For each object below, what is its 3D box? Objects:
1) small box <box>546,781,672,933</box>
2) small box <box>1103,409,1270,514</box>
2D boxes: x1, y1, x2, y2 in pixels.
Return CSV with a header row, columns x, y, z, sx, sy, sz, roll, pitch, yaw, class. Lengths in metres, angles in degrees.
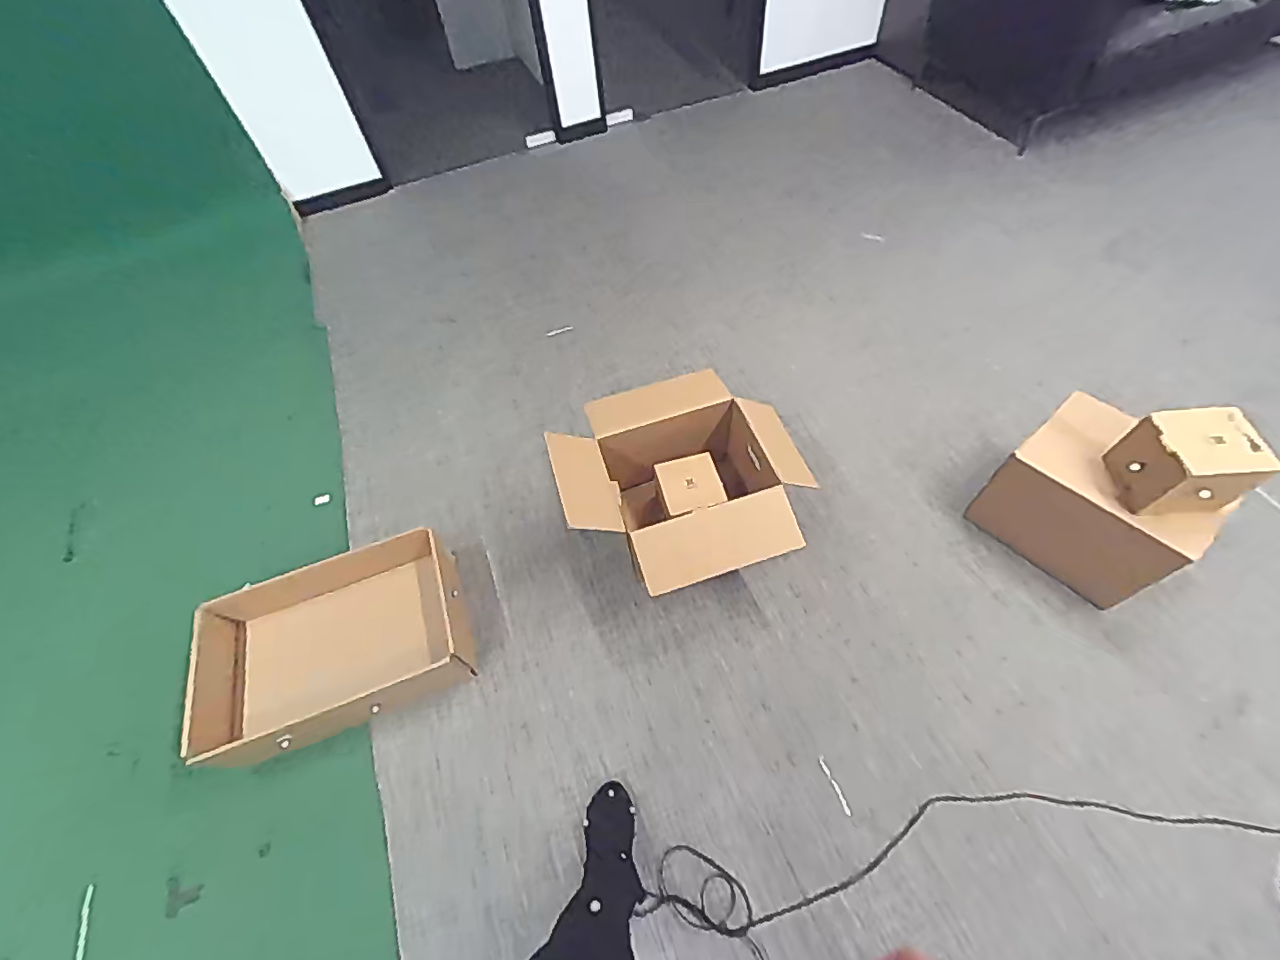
x,y,z,sx,sy,sz,roll,pitch,yaw,class
-0.058,0.763,1.112,0.179,0.168,0.176,-28,88,-39,small box
1.180,-0.035,1.193,0.179,0.176,0.168,-4,57,5,small box
